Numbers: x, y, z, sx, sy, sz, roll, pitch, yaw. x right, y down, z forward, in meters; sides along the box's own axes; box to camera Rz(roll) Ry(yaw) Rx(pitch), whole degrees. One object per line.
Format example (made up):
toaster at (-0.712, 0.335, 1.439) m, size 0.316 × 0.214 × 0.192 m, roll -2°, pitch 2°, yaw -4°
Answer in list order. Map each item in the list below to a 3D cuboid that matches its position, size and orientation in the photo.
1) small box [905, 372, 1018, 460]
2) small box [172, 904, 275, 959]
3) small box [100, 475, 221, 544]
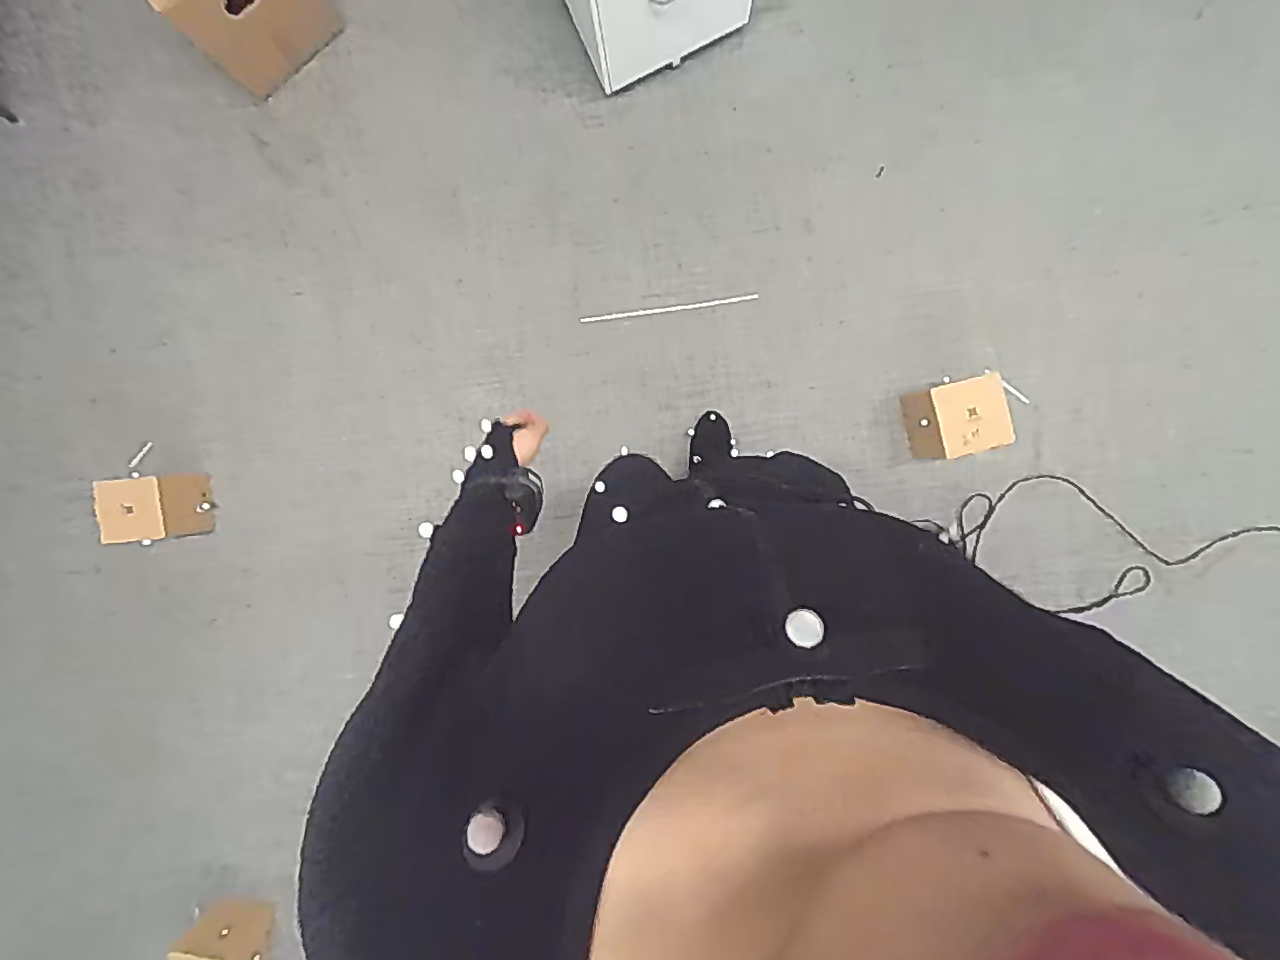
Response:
small box at (0.785, -0.152, 1.339) m, size 0.168 × 0.176 × 0.179 m, roll -15°, pitch 93°, yaw 4°
small box at (-1.175, 1.352, 1.533) m, size 0.179 × 0.176 × 0.168 m, roll 6°, pitch 93°, yaw 3°
small box at (-1.307, 0.076, 1.483) m, size 0.179 × 0.176 × 0.168 m, roll -6°, pitch 93°, yaw 2°
